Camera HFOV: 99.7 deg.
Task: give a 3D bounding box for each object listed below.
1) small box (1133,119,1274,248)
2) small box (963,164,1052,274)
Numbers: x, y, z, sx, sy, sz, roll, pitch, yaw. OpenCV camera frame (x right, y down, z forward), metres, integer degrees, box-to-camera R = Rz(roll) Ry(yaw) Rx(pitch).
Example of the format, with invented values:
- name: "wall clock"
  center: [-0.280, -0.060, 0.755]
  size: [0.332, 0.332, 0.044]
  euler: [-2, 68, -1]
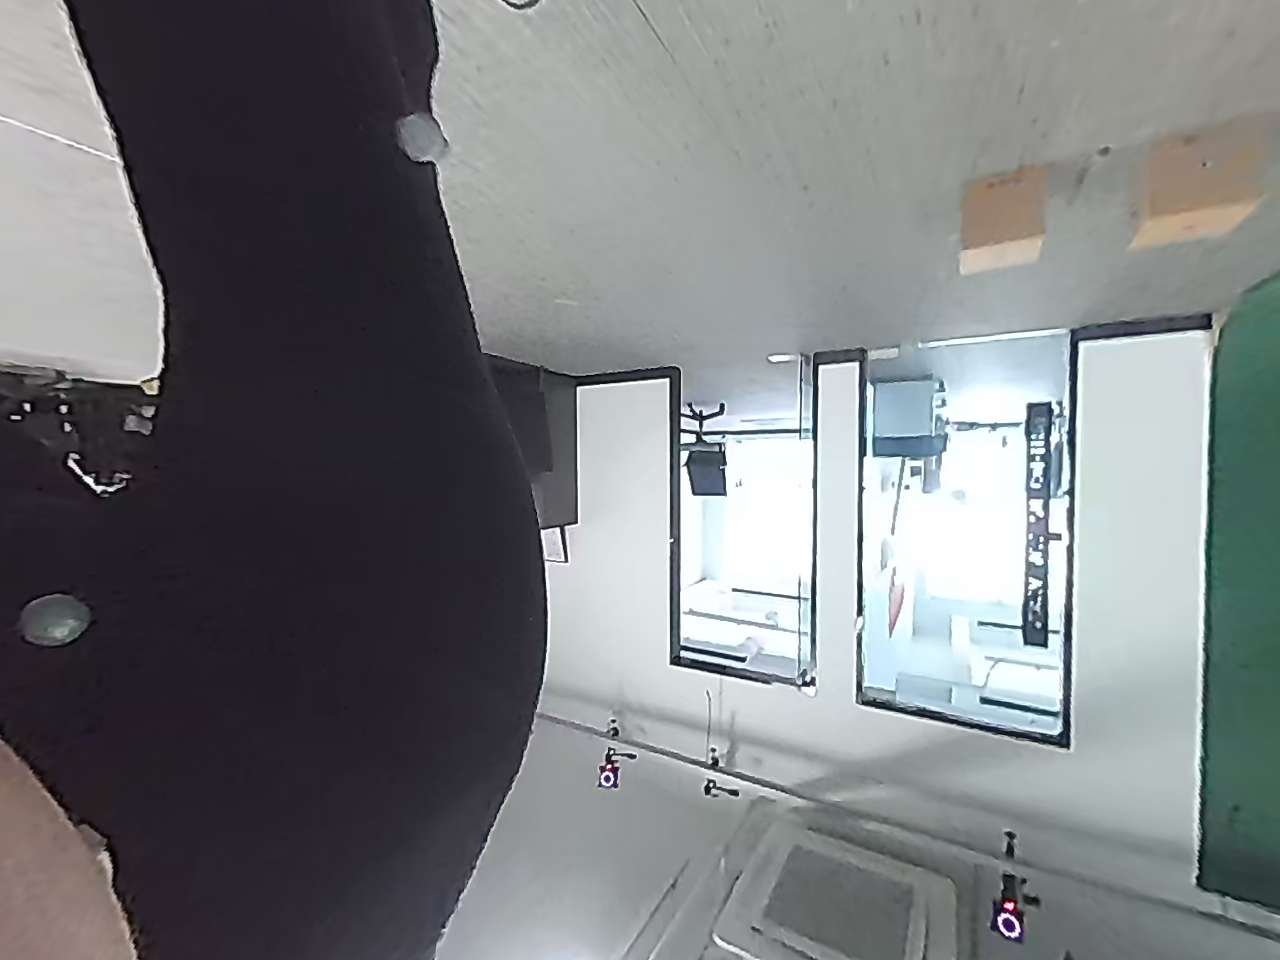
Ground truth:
- name: "small box"
  center: [1.145, -0.606, 1.112]
  size: [0.168, 0.176, 0.179]
  euler: [1, -178, 31]
- name: "small box"
  center: [0.866, -0.612, 1.284]
  size: [0.168, 0.176, 0.179]
  euler: [0, -179, 31]
